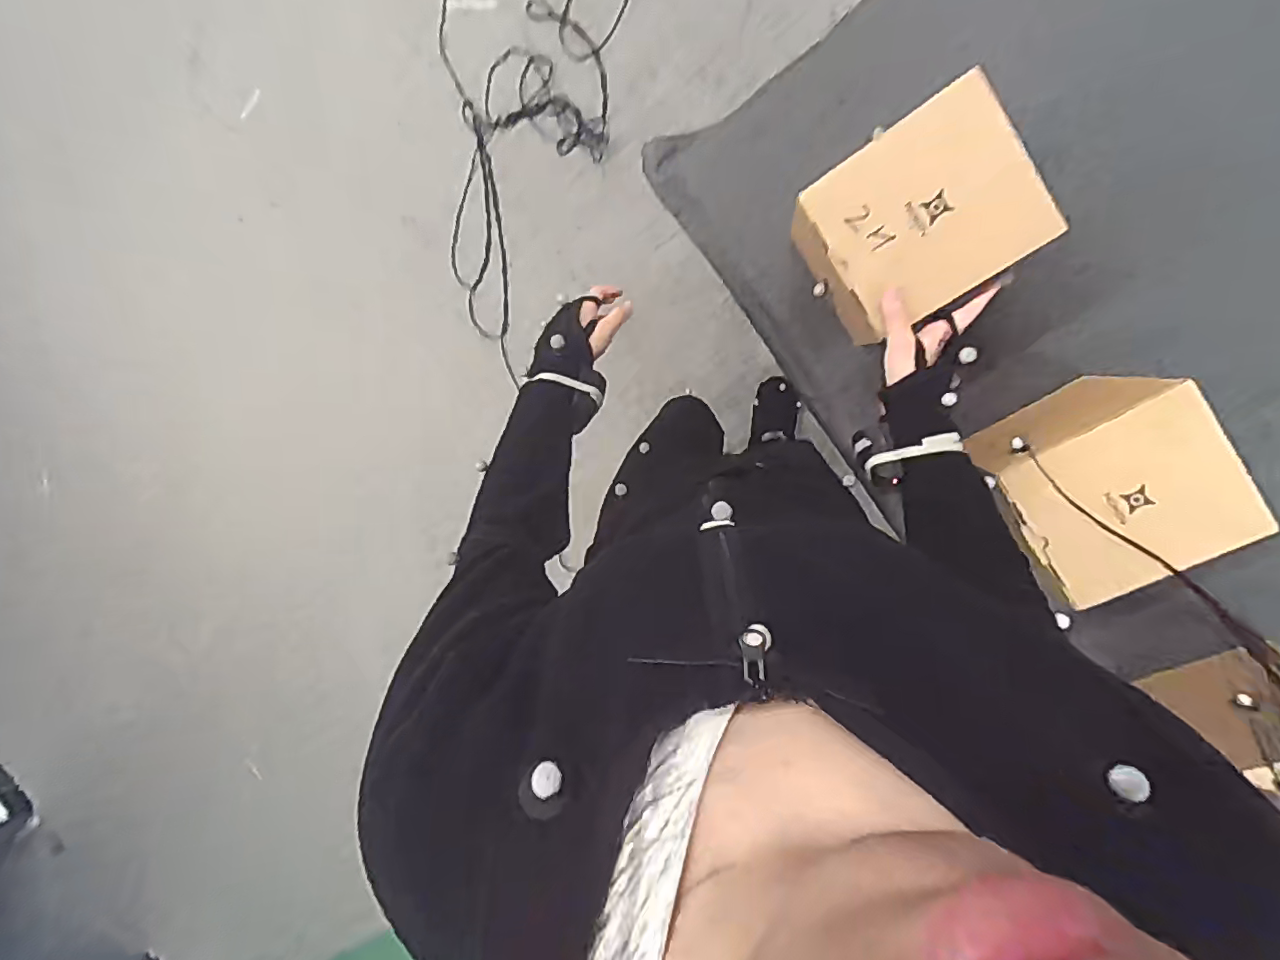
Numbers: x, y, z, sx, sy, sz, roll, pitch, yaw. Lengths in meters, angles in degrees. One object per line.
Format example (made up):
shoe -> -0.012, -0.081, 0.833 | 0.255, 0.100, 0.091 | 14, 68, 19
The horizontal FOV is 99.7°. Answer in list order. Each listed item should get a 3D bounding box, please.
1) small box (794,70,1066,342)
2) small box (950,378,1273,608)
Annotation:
small box -> 0.281, -0.263, 0.572 | 0.179, 0.176, 0.168 | -32, 93, 16
small box -> 0.482, 0.001, 0.588 | 0.179, 0.176, 0.168 | -33, 93, 17
